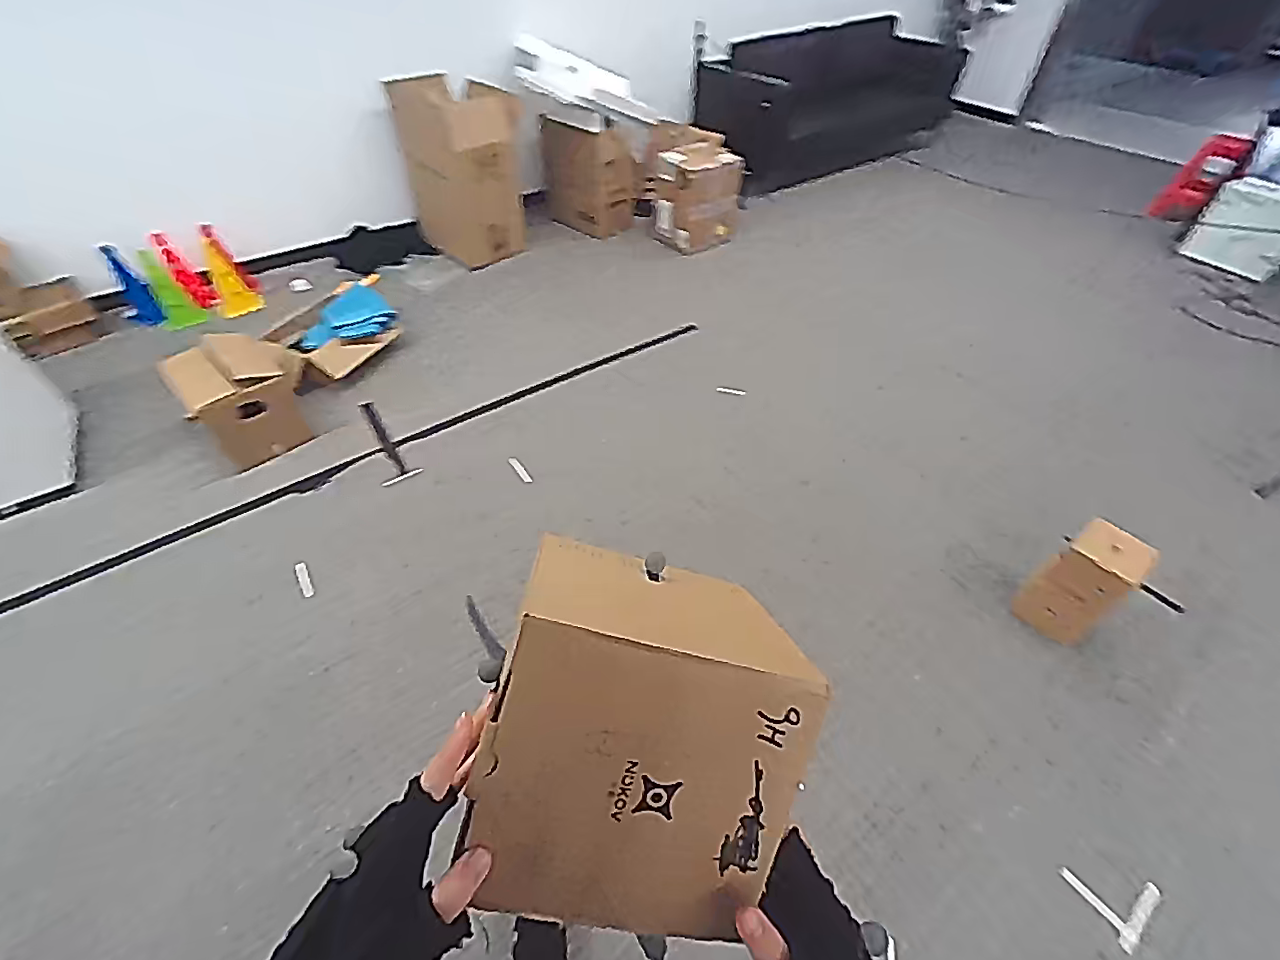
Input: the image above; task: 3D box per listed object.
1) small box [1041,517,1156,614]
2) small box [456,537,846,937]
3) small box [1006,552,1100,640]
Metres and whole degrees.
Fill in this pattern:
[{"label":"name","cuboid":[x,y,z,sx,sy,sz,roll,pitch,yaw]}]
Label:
[{"label":"small box","cuboid":[1.284,0.245,1.529,0.179,0.176,0.168,-31,55,-27]},{"label":"small box","cuboid":[0.000,0.148,0.370,0.179,0.168,0.176,16,6,-7]},{"label":"small box","cuboid":[1.270,0.360,1.644,0.168,0.176,0.179,-35,55,-29]}]
